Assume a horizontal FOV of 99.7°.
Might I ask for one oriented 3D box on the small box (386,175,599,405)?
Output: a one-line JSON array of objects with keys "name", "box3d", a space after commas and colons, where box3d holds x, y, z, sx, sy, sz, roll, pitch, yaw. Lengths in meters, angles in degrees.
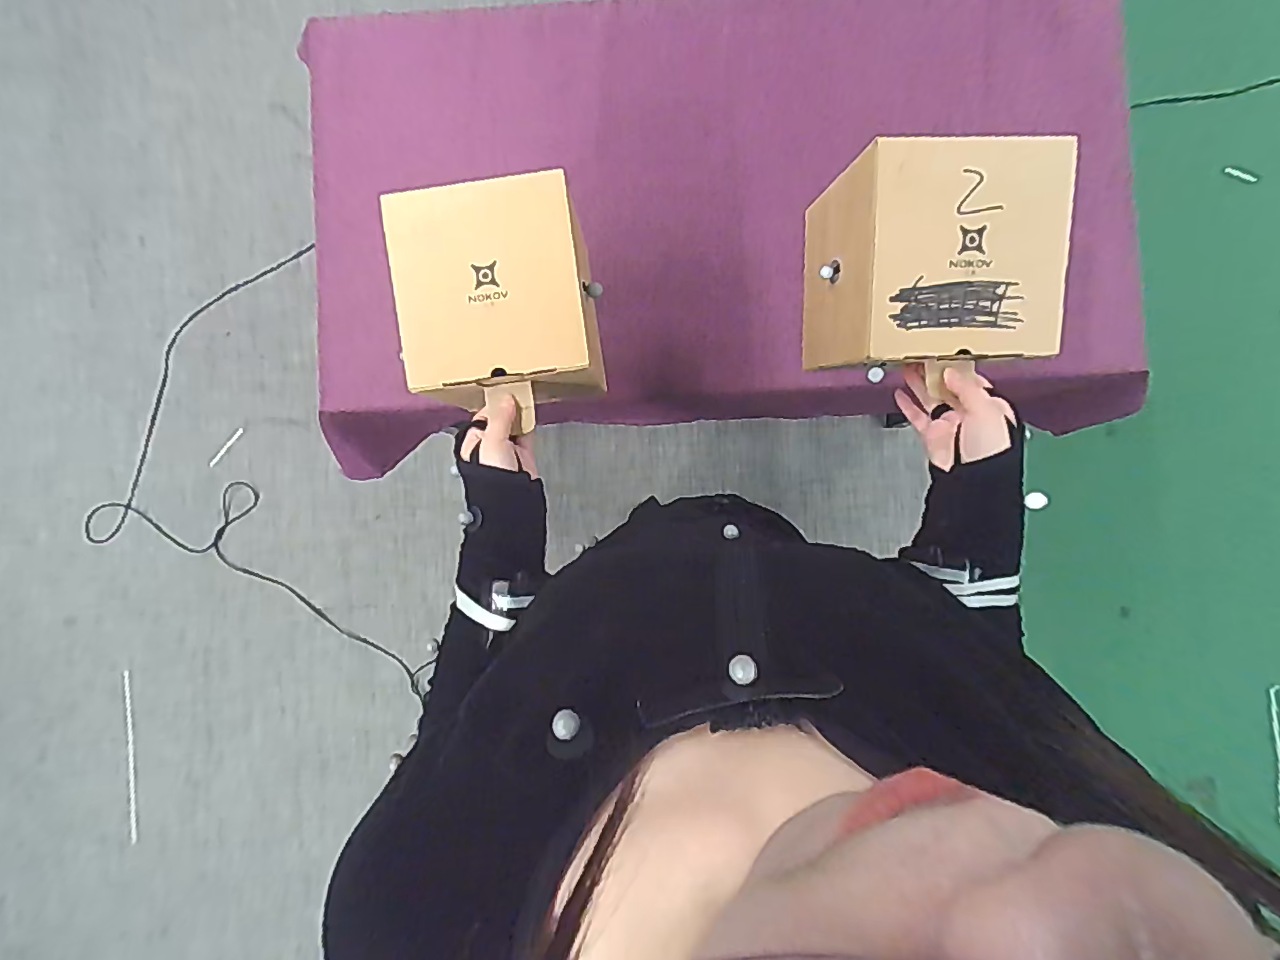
[{"name": "small box", "box3d": [-0.139, -0.183, 0.570, 0.168, 0.176, 0.179, -8, 93, 1]}]
